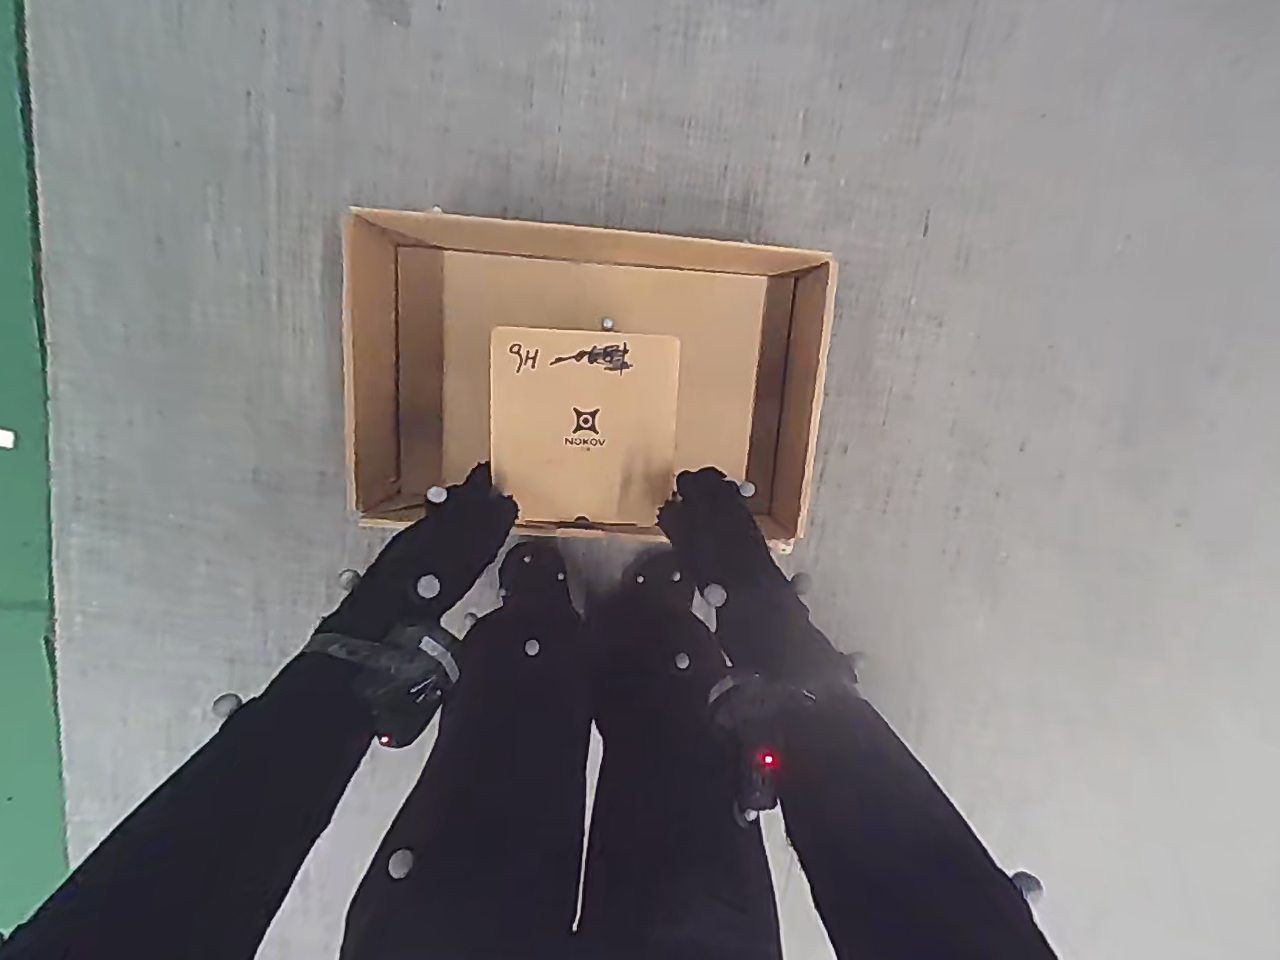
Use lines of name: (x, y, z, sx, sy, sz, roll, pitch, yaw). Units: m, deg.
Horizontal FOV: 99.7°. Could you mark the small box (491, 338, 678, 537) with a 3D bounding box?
small box: (-0.056, -0.051, 0.567, 0.168, 0.176, 0.179, 2, 101, -4)
